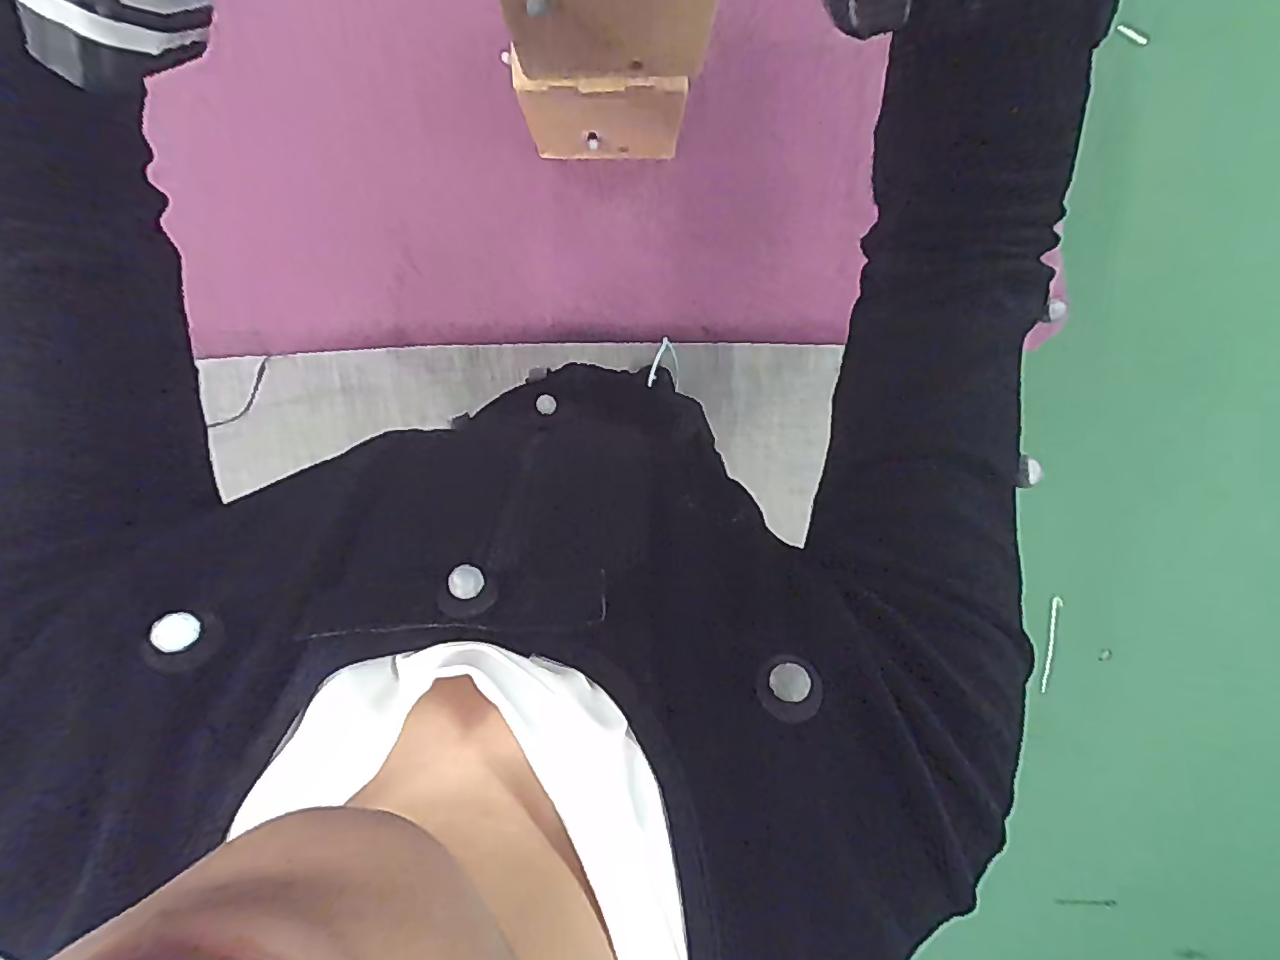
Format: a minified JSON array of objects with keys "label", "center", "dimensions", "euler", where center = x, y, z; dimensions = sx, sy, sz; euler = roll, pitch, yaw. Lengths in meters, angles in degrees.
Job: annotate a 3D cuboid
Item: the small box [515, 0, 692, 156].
[{"label":"small box","center":[-0.037,-0.472,0.572],"dimensions":[0.168,0.176,0.179],"euler":[-1,102,-2]}]
